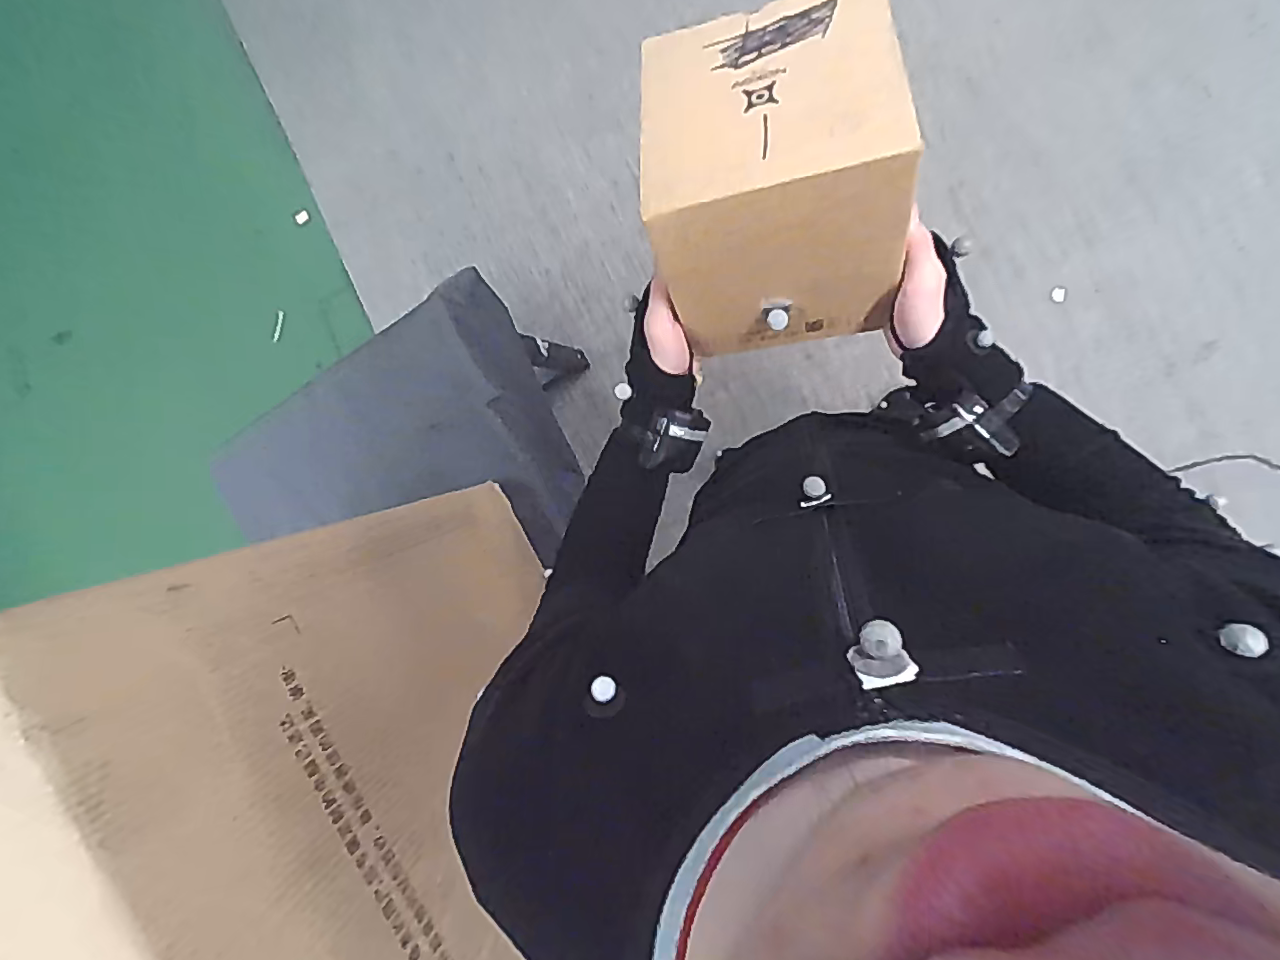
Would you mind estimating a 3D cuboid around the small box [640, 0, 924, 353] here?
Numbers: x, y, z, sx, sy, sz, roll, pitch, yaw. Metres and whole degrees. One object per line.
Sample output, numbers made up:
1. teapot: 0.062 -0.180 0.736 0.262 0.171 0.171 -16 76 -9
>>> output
1. small box: 0.103 -0.225 0.417 0.168 0.176 0.179 -6 70 17
